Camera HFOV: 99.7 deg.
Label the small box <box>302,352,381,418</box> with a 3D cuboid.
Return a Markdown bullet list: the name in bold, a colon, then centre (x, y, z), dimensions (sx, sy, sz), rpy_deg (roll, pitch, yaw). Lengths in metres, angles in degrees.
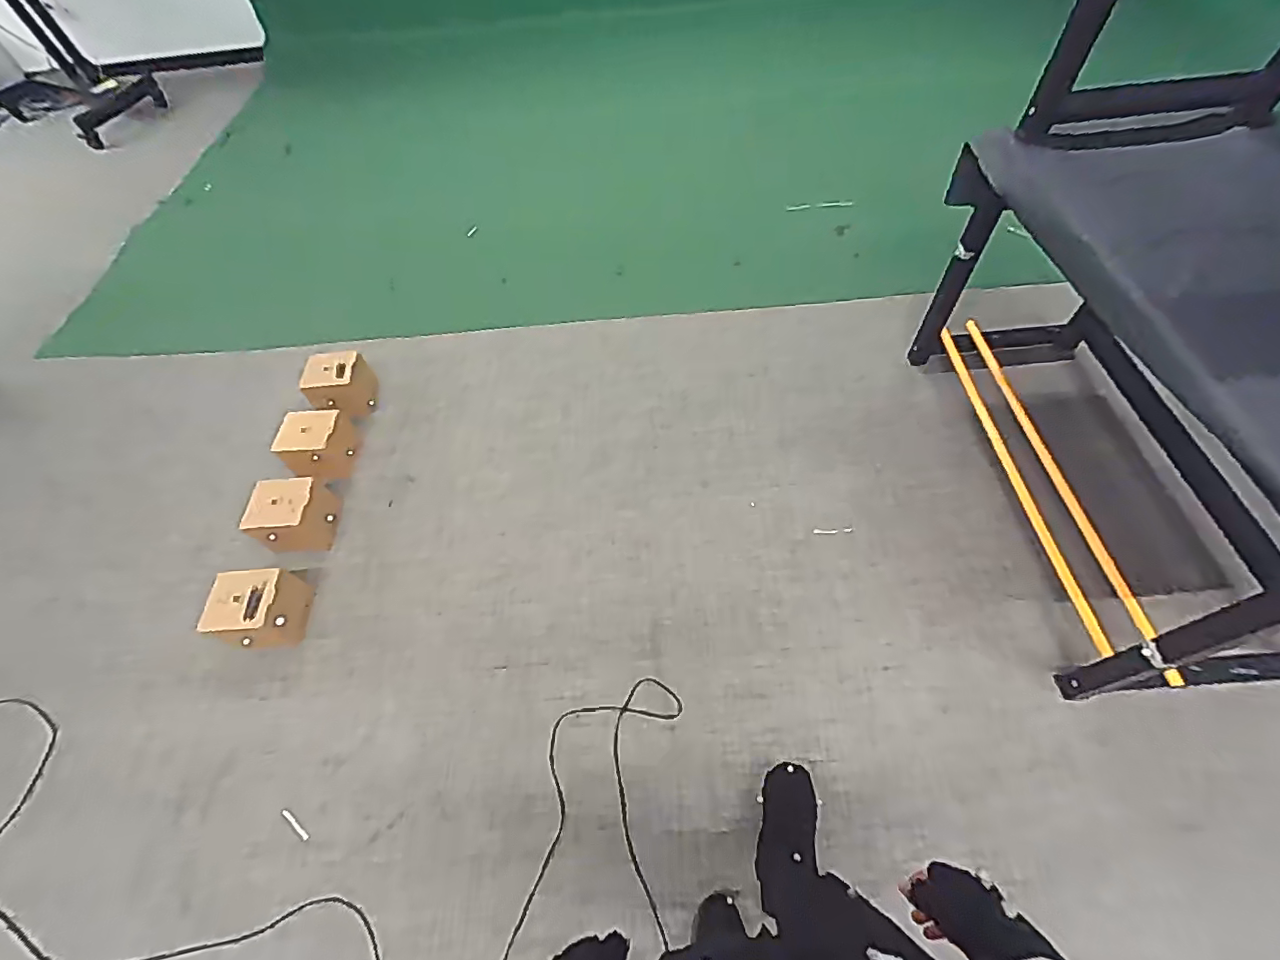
- **small box**: centre (-1.060, -0.334, 1.940), dimensions (0.179, 0.176, 0.168), rpy_deg (-6, 56, 1)

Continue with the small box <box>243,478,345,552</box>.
- **small box**: centre (-1.040, 0.111, 1.639), dimensions (0.179, 0.176, 0.168), rpy_deg (-4, 57, 1)

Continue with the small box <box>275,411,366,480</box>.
- **small box**: centre (-1.051, -0.110, 1.791), dimensions (0.179, 0.176, 0.168), rpy_deg (-2, 56, 2)
